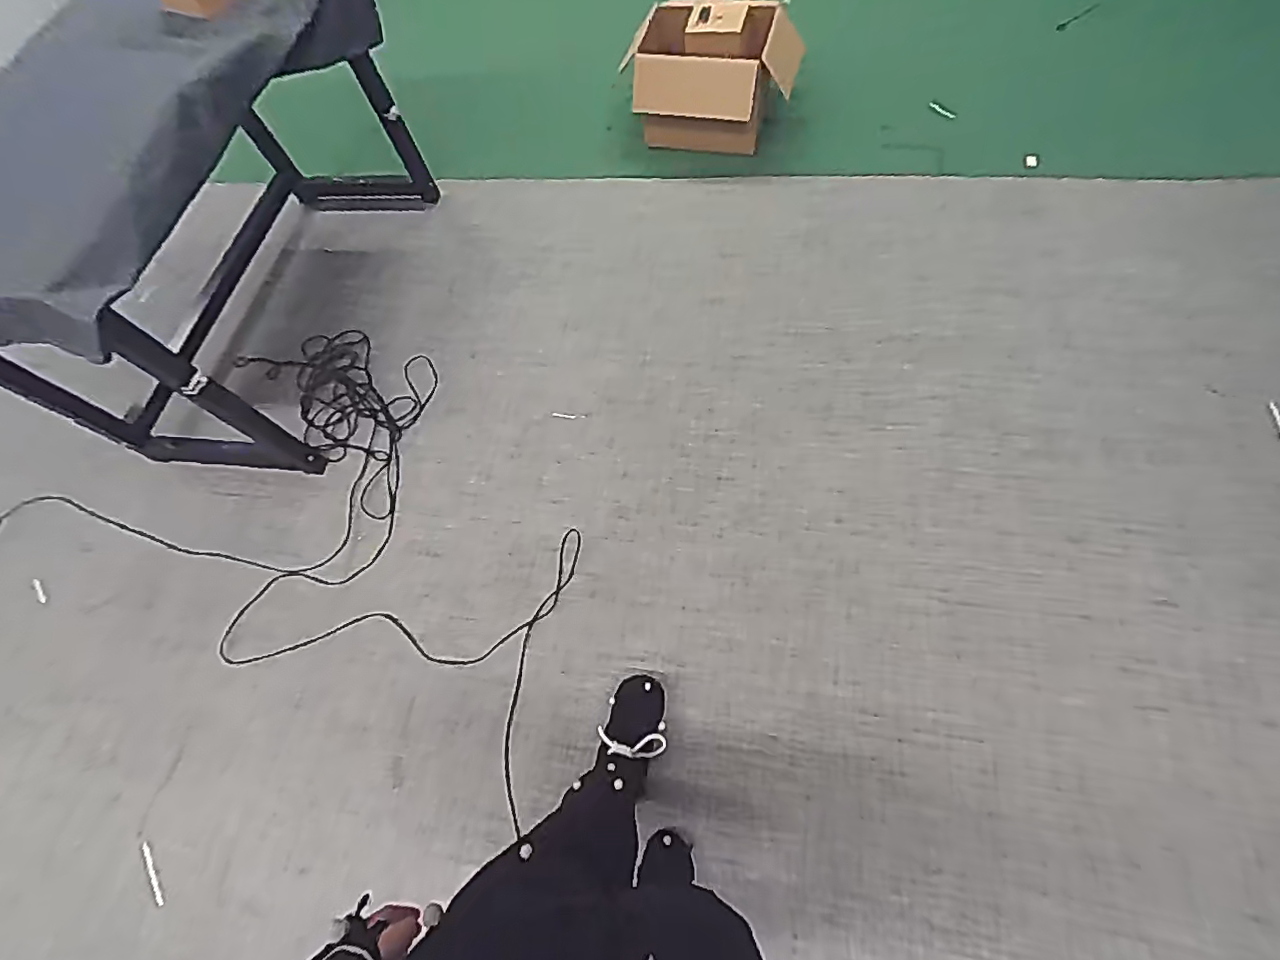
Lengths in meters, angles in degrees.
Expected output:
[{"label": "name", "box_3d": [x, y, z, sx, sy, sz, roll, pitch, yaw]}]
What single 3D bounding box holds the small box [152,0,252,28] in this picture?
[{"label": "small box", "box_3d": [-1.037, -1.174, 1.233, 0.179, 0.176, 0.168, 22, 68, 18]}]
